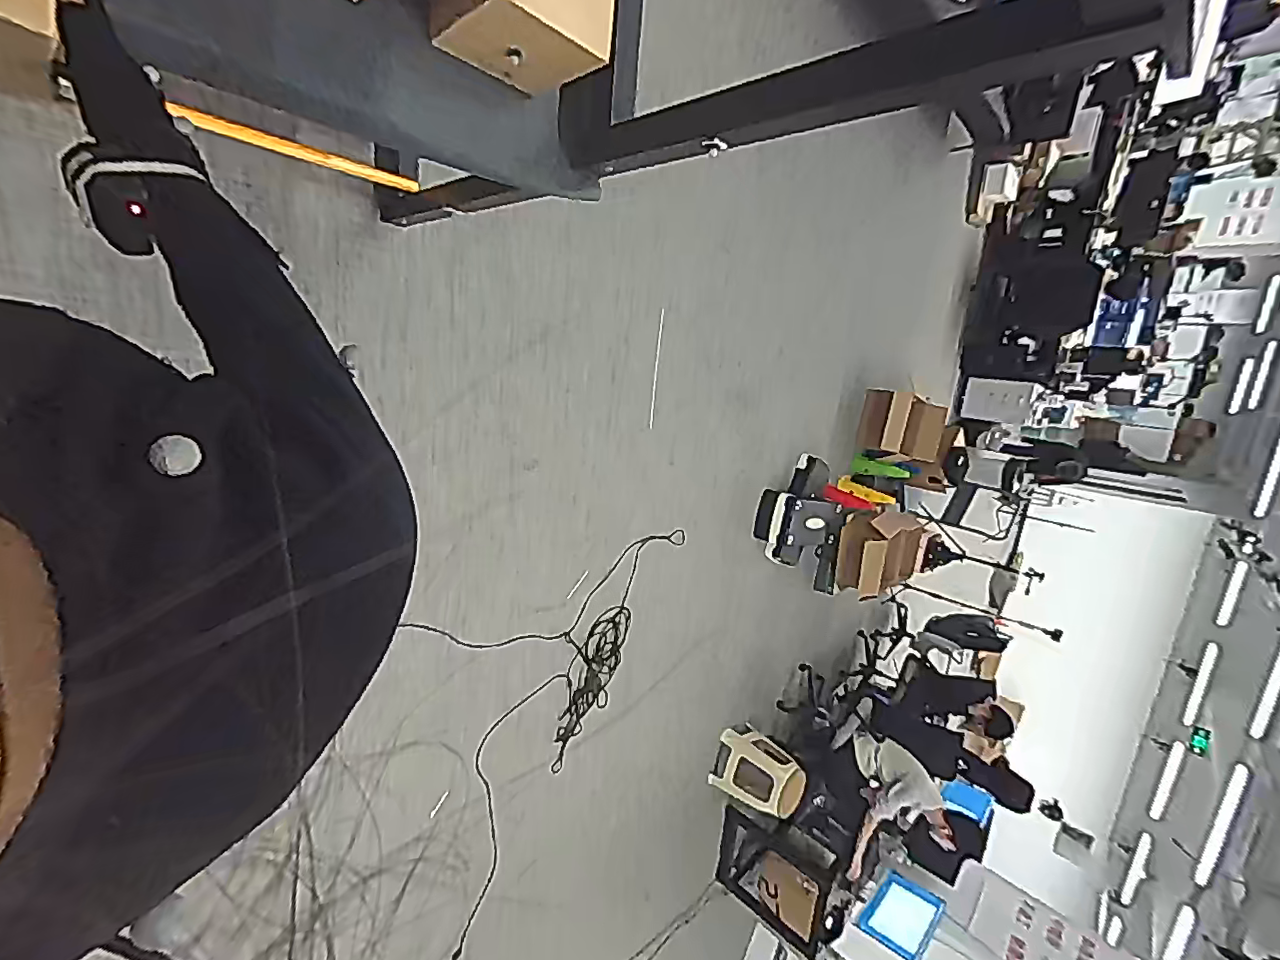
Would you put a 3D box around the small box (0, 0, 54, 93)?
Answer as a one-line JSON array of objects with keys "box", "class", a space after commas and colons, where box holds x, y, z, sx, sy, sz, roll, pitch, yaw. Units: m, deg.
[{"box": [-0.507, -0.403, 0.355, 0.168, 0.176, 0.179, -2, 99, -48], "class": "small box"}]

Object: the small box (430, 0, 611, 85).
[{"box": [-0.150, -0.642, 0.680, 0.168, 0.176, 0.179, -7, 107, -47], "class": "small box"}]
